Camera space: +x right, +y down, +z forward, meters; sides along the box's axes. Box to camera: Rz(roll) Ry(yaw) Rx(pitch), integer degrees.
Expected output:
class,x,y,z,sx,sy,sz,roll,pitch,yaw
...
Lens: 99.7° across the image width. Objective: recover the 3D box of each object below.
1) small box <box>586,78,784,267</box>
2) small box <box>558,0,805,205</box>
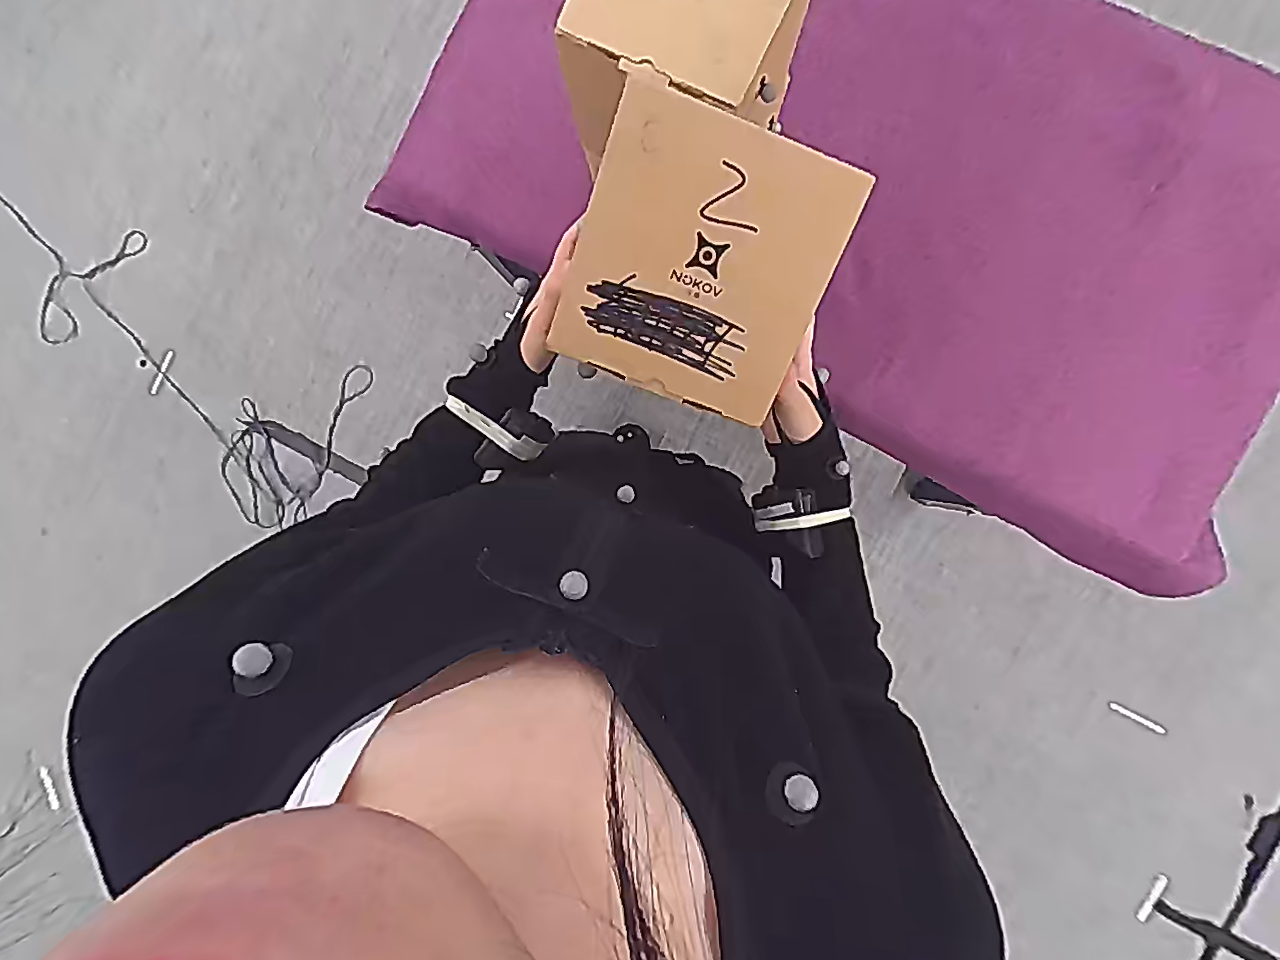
class,x,y,z,sx,sy,sz,roll,pitch,yaw
small box,0.055,-0.402,0.679,0.168,0.176,0.179,28,92,2
small box,0.046,-0.403,0.515,0.168,0.176,0.179,26,93,2
